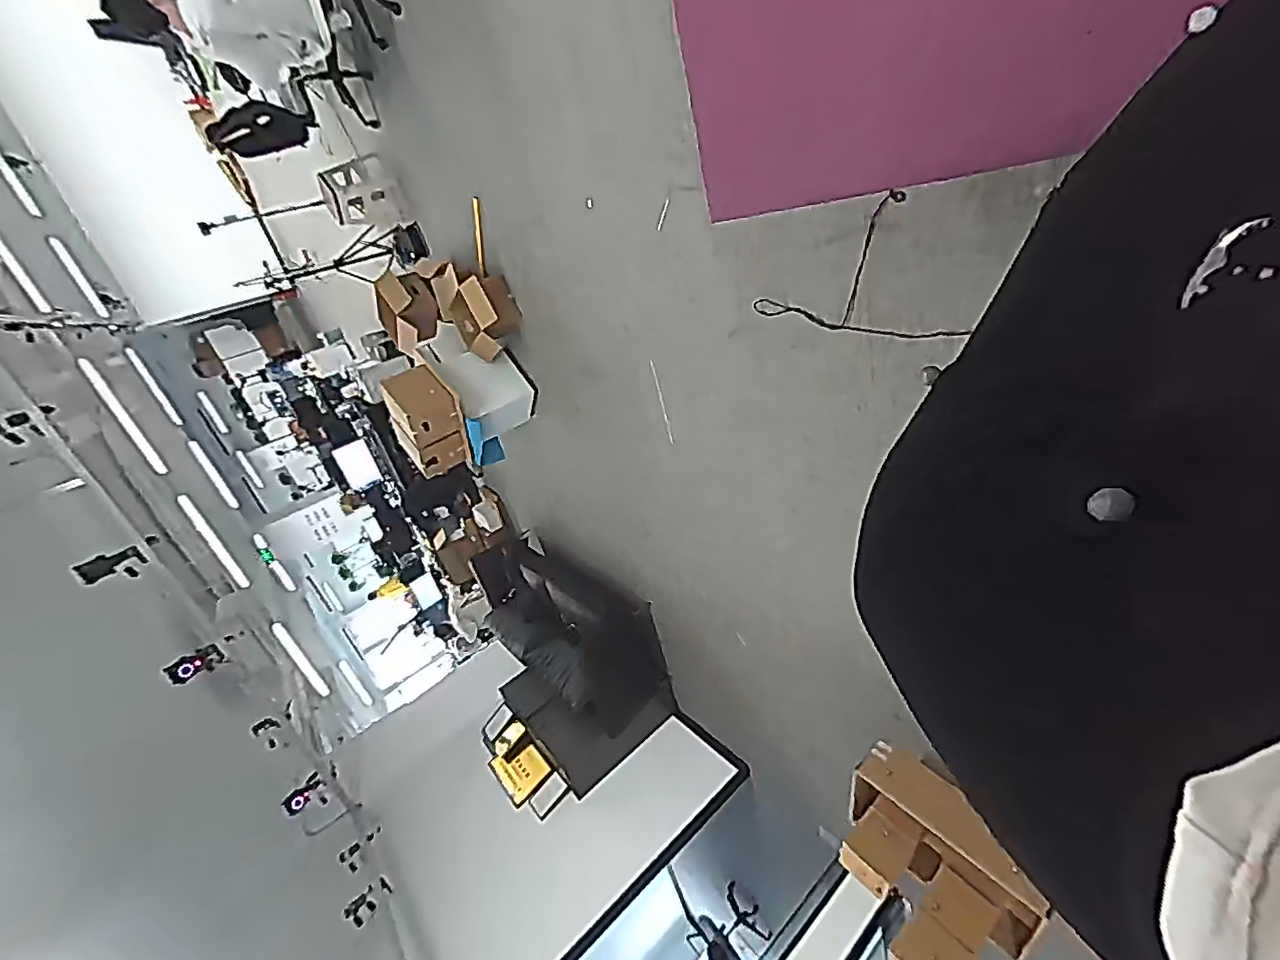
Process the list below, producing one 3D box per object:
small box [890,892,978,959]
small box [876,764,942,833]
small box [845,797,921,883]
[{"bbox_3d":[0.900,1.420,1.662,0.179,0.176,0.168,27,140,46],"label":"small box"},{"bbox_3d":[0.990,1.201,2.008,0.168,0.176,0.179,33,143,42],"label":"small box"},{"bbox_3d":[0.866,1.275,1.932,0.179,0.176,0.168,33,143,43],"label":"small box"}]
